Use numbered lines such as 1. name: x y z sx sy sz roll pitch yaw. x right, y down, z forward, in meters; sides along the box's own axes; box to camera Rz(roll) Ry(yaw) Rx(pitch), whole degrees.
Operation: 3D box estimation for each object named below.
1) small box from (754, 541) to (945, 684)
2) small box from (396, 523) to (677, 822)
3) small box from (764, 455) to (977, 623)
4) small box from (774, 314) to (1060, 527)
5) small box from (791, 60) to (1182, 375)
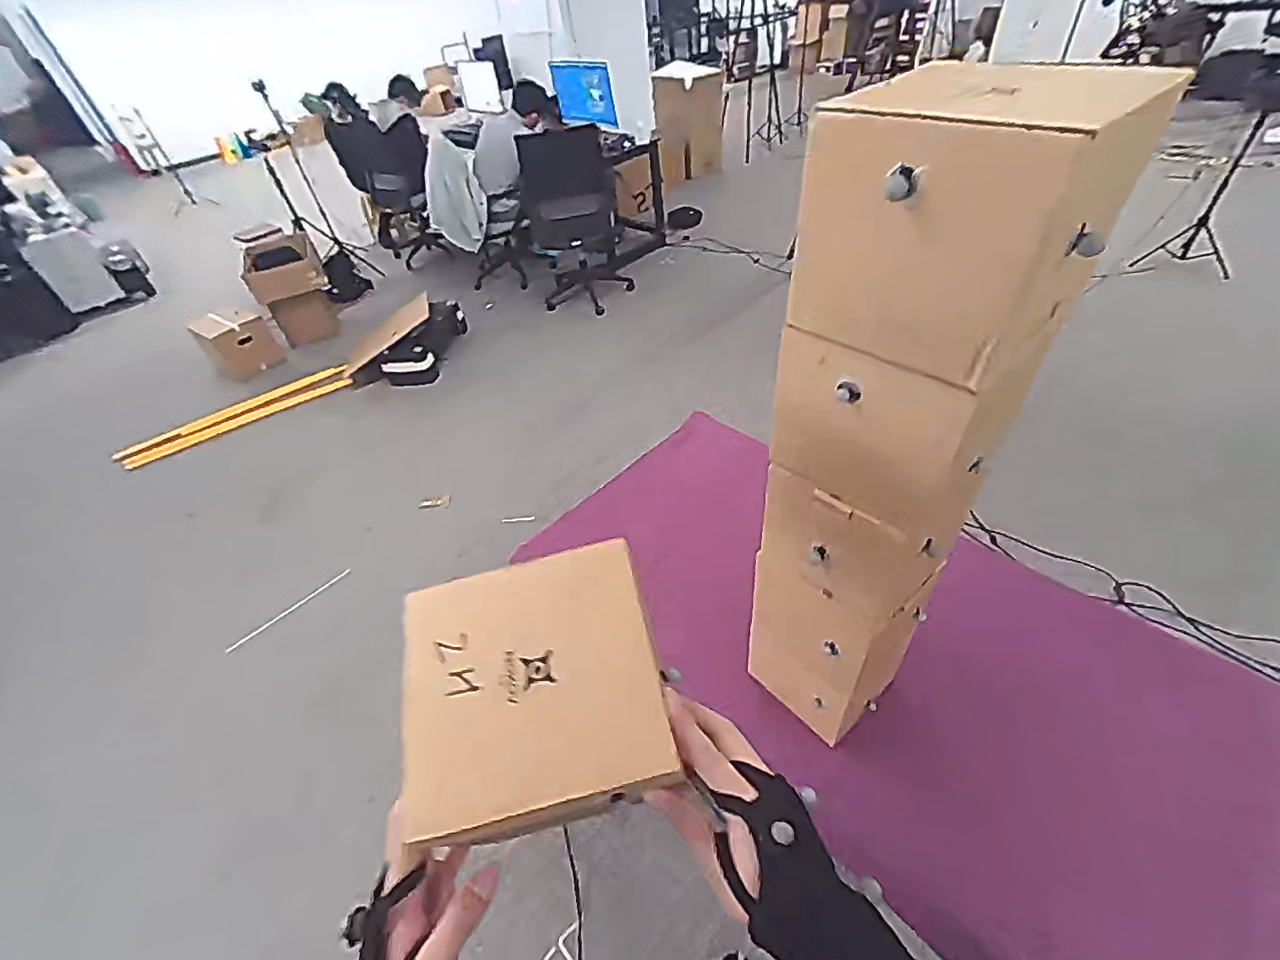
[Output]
1. small box: 0.278 0.155 0.752 0.168 0.176 0.179 -33 48 -24
2. small box: -0.071 0.161 0.437 0.179 0.176 0.168 -15 56 -1
3. small box: 0.266 0.034 0.643 0.179 0.176 0.168 -34 49 -24
4. small box: 0.250 -0.086 0.531 0.168 0.176 0.179 -35 50 -26
5. small box: 0.239 -0.201 0.417 0.168 0.176 0.179 -35 49 -25
